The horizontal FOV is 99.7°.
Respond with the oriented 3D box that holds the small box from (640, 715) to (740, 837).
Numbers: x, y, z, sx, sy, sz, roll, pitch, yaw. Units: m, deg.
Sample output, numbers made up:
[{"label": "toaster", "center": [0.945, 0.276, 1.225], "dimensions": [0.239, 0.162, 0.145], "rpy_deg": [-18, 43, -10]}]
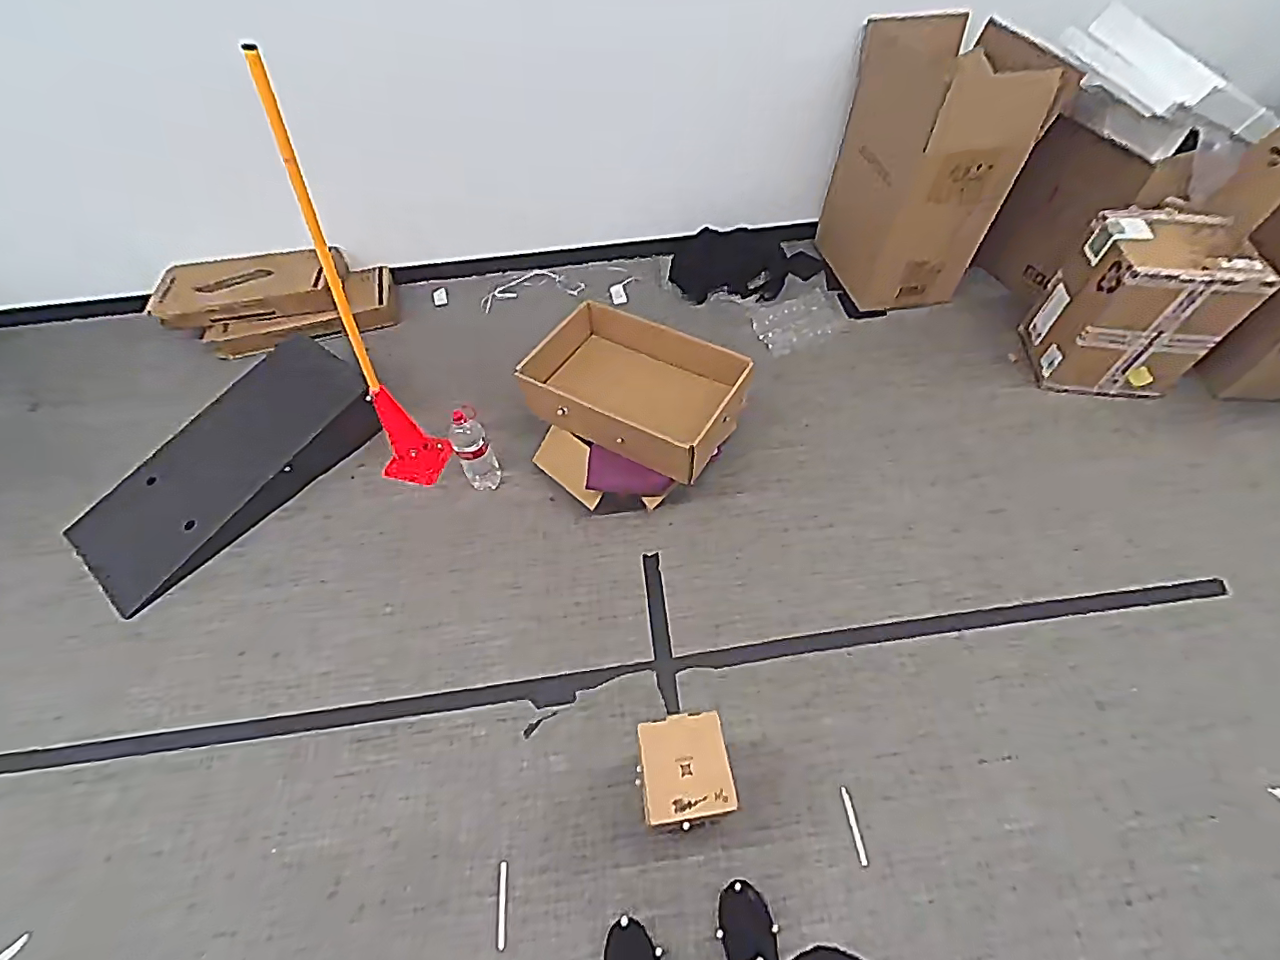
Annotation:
[{"label": "small box", "center": [0.092, 0.598, 1.091], "dimensions": [0.168, 0.176, 0.179], "rpy_deg": [-9, 53, -3]}]
